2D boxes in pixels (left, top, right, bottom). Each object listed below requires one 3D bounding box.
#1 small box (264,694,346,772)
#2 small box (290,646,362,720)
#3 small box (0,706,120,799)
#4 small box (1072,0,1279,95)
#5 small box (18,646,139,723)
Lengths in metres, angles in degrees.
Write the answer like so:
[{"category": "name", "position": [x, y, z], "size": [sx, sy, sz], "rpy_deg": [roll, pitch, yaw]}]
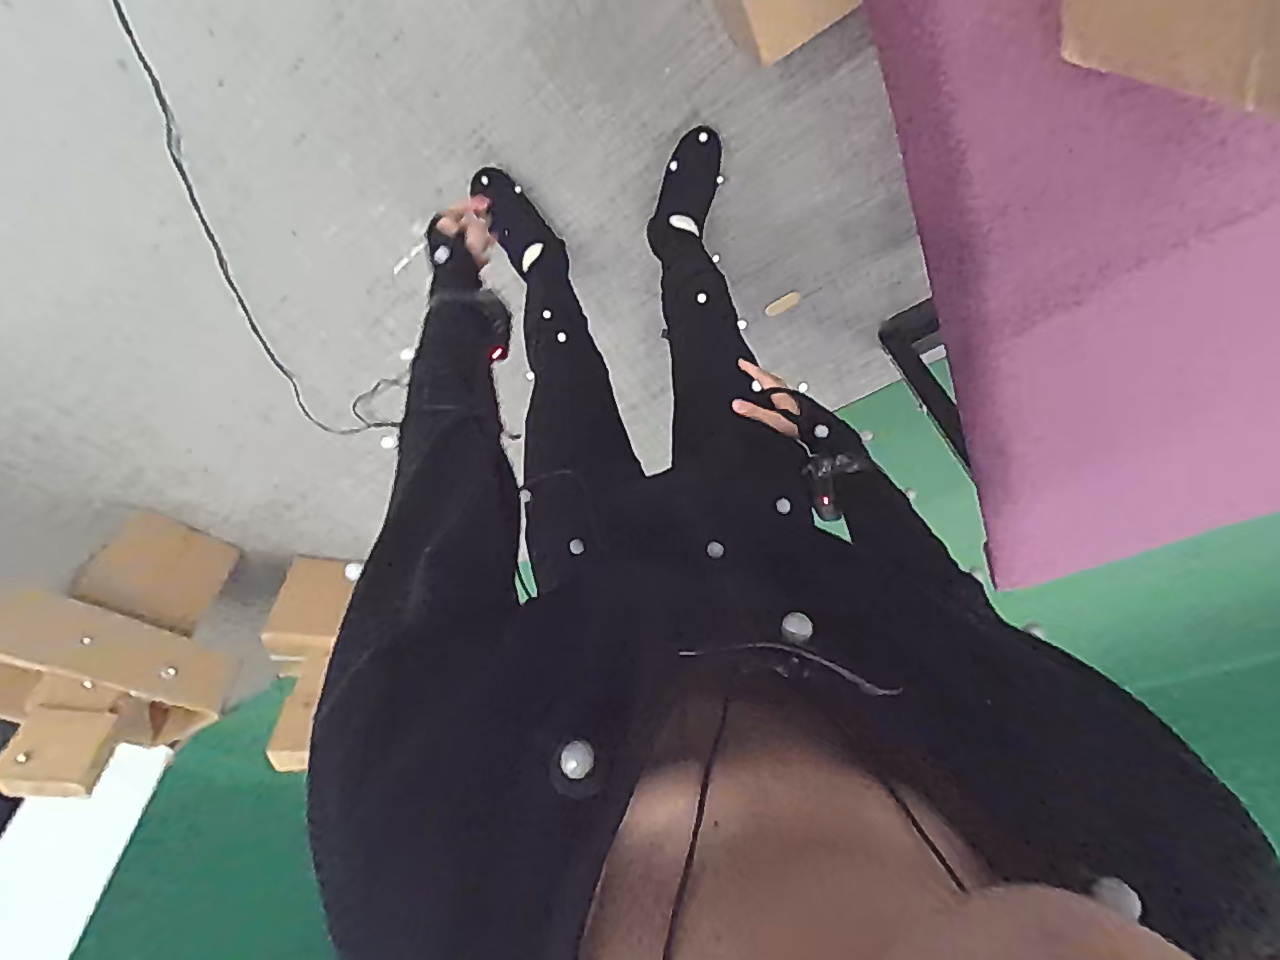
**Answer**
[{"category": "small box", "position": [-1.025, 0.784, 1.671], "size": [0.168, 0.176, 0.179], "rpy_deg": [9, 134, -15]}, {"category": "small box", "position": [-1.032, 0.672, 1.790], "size": [0.168, 0.176, 0.179], "rpy_deg": [12, 133, -16]}, {"category": "small box", "position": [-1.508, 0.702, 1.396], "size": [0.179, 0.176, 0.168], "rpy_deg": [17, 132, -22]}, {"category": "small box", "position": [0.359, -0.341, 0.262], "size": [0.179, 0.176, 0.168], "rpy_deg": [-24, 133, 20]}, {"category": "small box", "position": [-1.543, 0.582, 1.506], "size": [0.179, 0.176, 0.168], "rpy_deg": [16, 131, -21]}]
